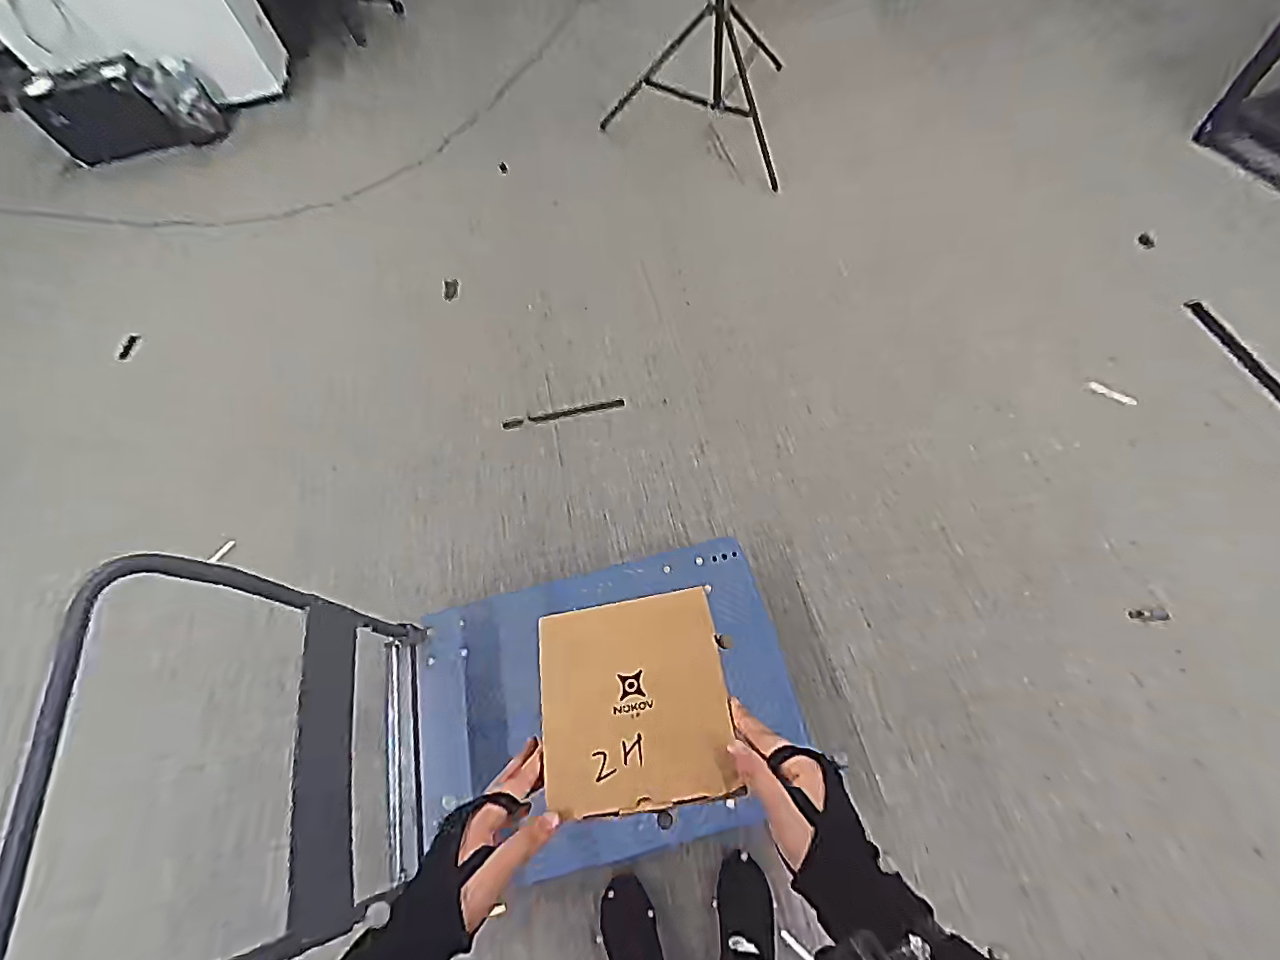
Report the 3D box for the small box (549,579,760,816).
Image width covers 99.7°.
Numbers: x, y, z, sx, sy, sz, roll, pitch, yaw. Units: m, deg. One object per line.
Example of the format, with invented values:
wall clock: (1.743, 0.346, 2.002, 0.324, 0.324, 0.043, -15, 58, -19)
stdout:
small box: (0.015, 0.220, 0.534, 0.168, 0.176, 0.179, -12, 59, 4)
